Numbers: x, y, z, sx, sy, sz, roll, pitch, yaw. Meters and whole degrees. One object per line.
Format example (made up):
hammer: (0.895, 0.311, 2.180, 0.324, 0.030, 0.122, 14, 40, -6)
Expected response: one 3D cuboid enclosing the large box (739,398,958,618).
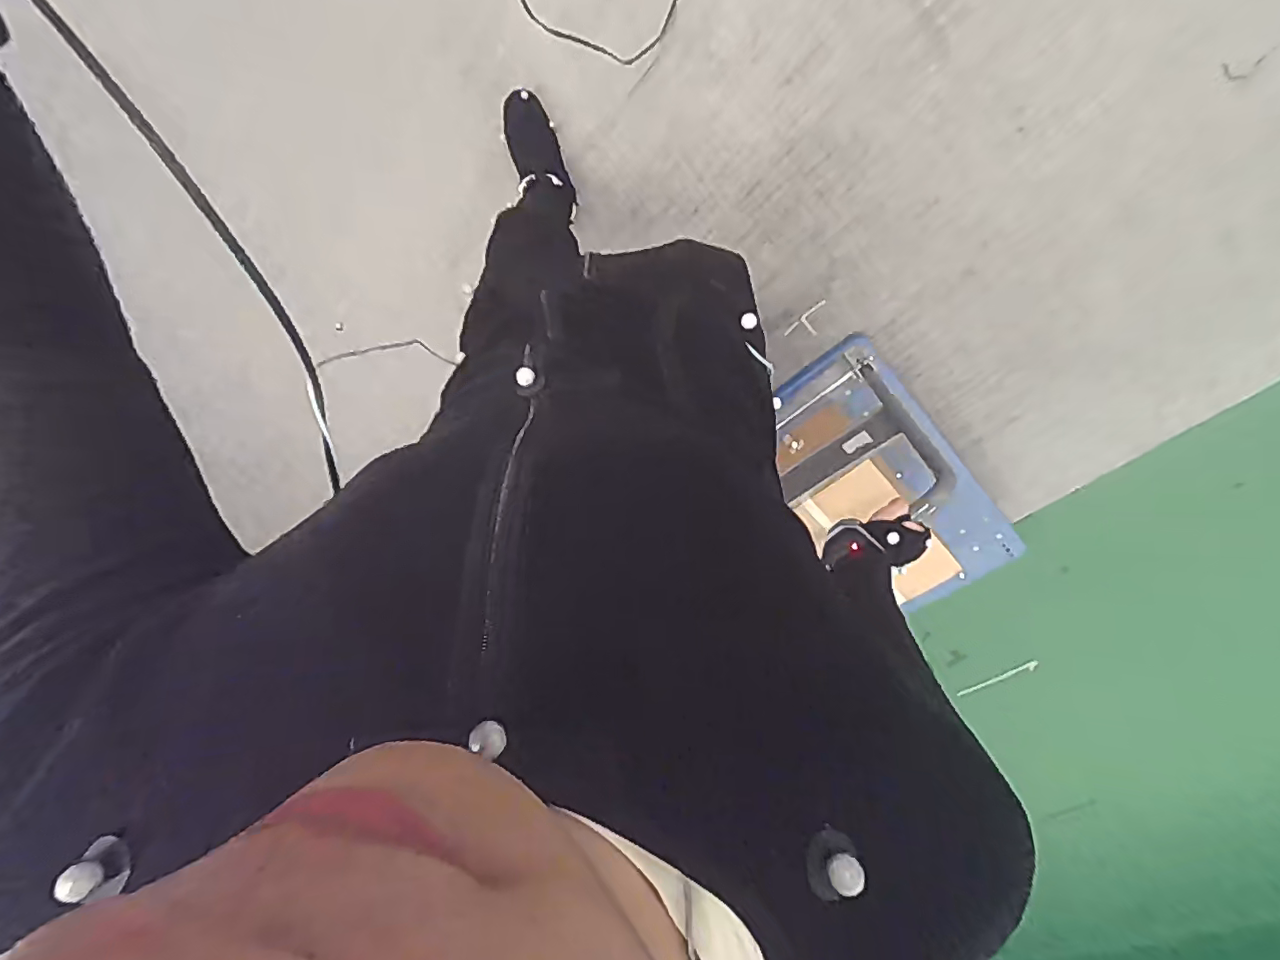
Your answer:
large box: (0.511, 0.068, 1.393, 0.320, 0.320, 0.408, -38, 111, 25)
